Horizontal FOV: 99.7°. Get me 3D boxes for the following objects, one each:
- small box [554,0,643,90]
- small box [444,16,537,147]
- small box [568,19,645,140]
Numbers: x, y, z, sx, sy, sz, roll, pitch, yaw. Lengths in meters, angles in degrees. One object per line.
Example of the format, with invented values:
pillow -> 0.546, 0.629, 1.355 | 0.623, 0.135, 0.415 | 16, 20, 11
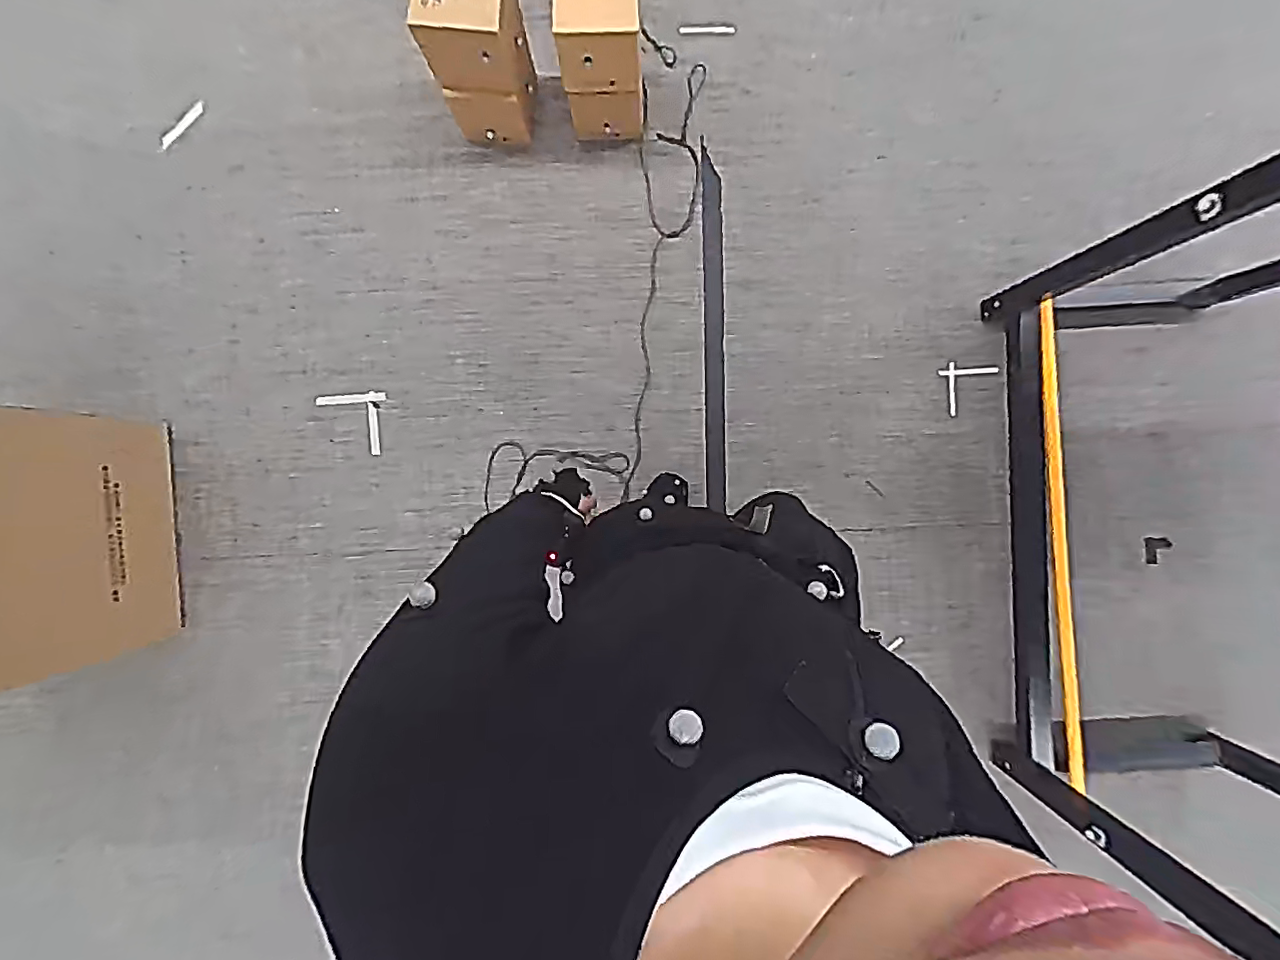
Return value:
small box -> -0.078, -0.928, 1.095 | 0.168, 0.176, 0.179 | -1, 90, 1
small box -> -0.339, -0.918, 1.257 | 0.168, 0.176, 0.179 | 5, 92, 0
small box -> -0.074, -0.929, 1.257 | 0.168, 0.176, 0.179 | 0, 91, 1
